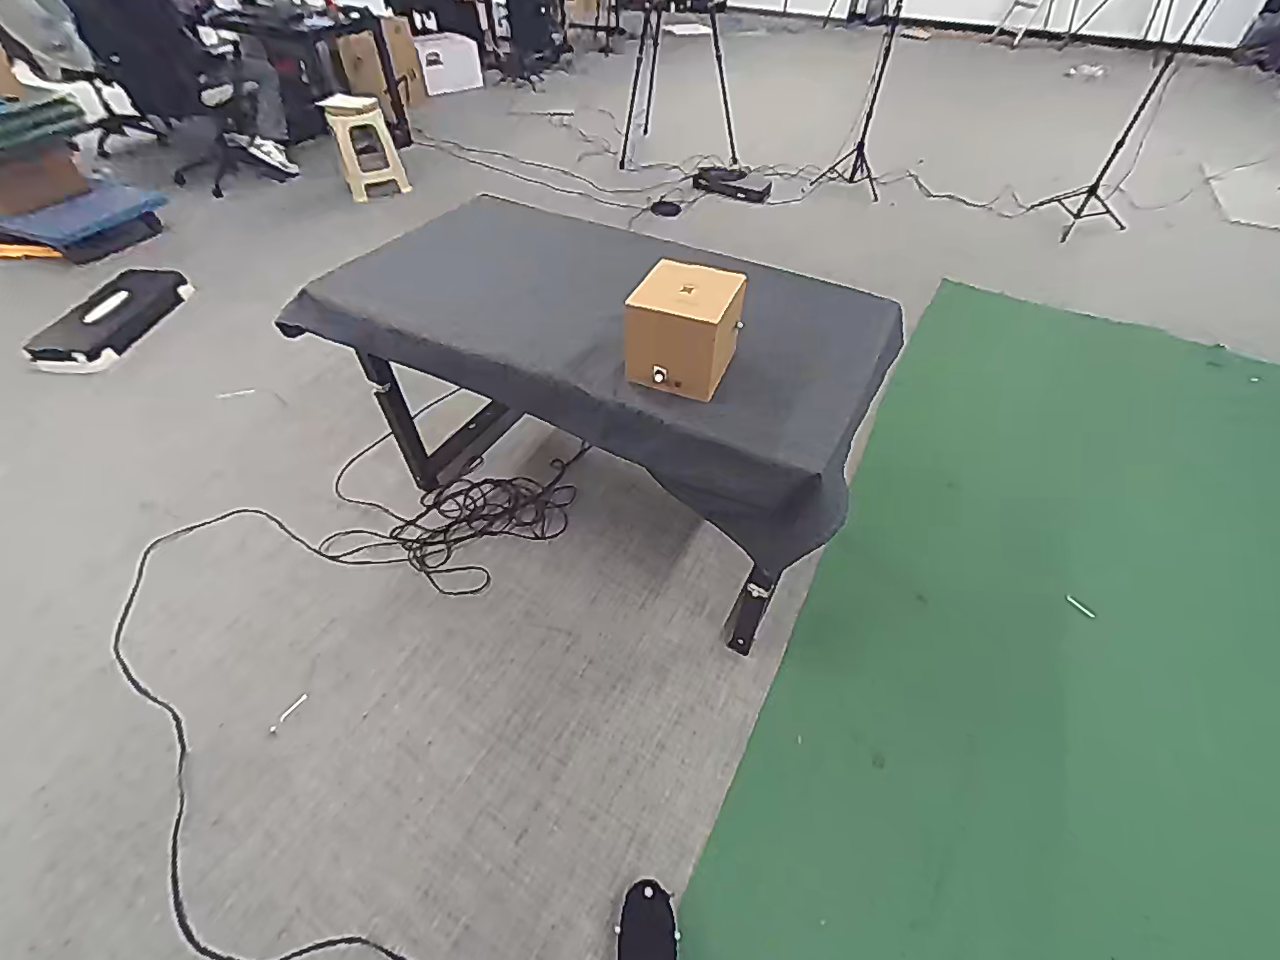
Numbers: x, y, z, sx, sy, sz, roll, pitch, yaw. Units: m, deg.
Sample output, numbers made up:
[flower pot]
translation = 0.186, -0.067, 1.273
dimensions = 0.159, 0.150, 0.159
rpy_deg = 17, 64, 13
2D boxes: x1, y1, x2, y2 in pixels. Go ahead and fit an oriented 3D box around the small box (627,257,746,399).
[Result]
[small box]
translation = 0.081, -0.277, 0.988
dimensions = 0.168, 0.176, 0.179
rpy_deg = 17, 51, 15
